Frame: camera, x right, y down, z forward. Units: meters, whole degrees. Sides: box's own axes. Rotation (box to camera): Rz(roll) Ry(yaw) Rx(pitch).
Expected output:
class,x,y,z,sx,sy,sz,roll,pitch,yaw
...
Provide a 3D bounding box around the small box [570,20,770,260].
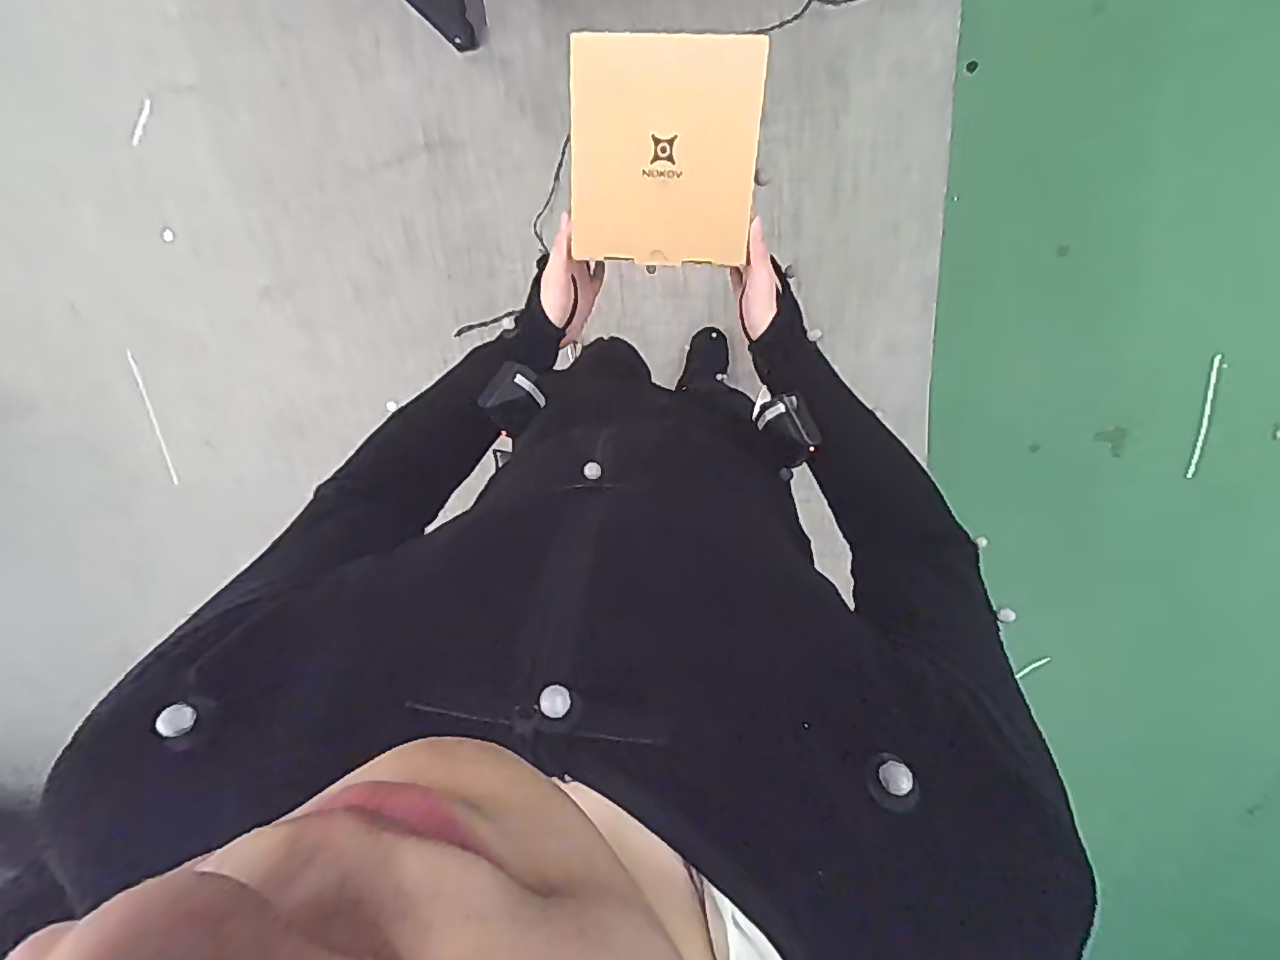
class,x,y,z,sx,sy,sz,roll,pitch,yaw
small box,0.025,-0.322,0.545,0.168,0.176,0.179,4,114,3
